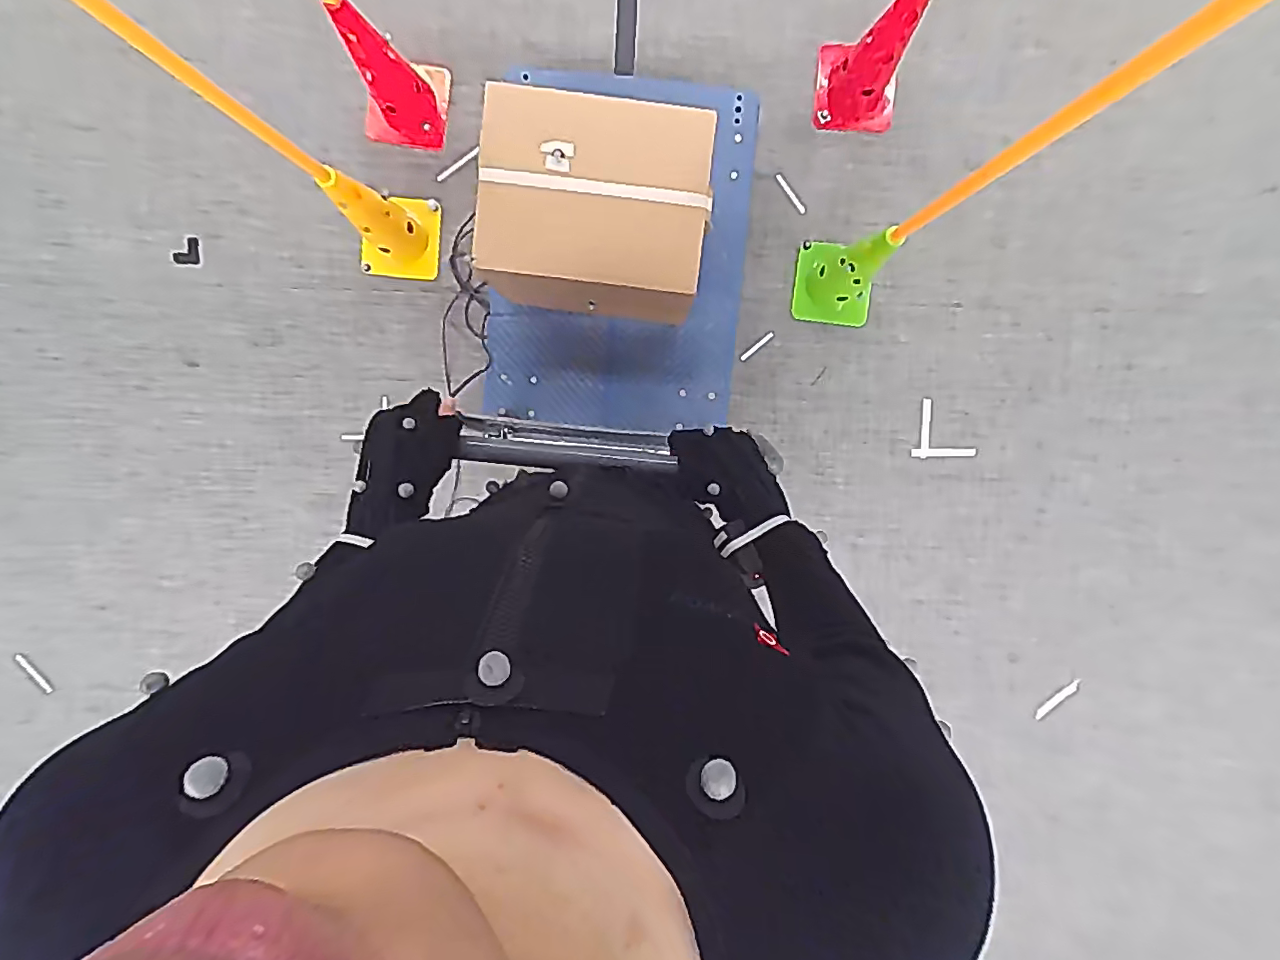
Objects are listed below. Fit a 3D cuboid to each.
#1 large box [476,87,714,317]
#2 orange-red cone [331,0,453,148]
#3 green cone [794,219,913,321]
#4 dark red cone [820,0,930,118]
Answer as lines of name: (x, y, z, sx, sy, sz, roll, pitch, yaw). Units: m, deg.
large box: (-0.079, -0.528, 1.099, 0.408, 0.320, 0.320, 7, 96, 0)
orange-red cone: (-0.582, -0.948, 1.206, 0.198, 0.360, 0.199, 10, 95, -2)
green cone: (0.511, -0.508, 1.240, 0.202, 0.368, 0.200, 6, 96, -1)
dark red cone: (0.551, -0.987, 1.173, 0.201, 0.394, 0.202, 2, 96, -2)
